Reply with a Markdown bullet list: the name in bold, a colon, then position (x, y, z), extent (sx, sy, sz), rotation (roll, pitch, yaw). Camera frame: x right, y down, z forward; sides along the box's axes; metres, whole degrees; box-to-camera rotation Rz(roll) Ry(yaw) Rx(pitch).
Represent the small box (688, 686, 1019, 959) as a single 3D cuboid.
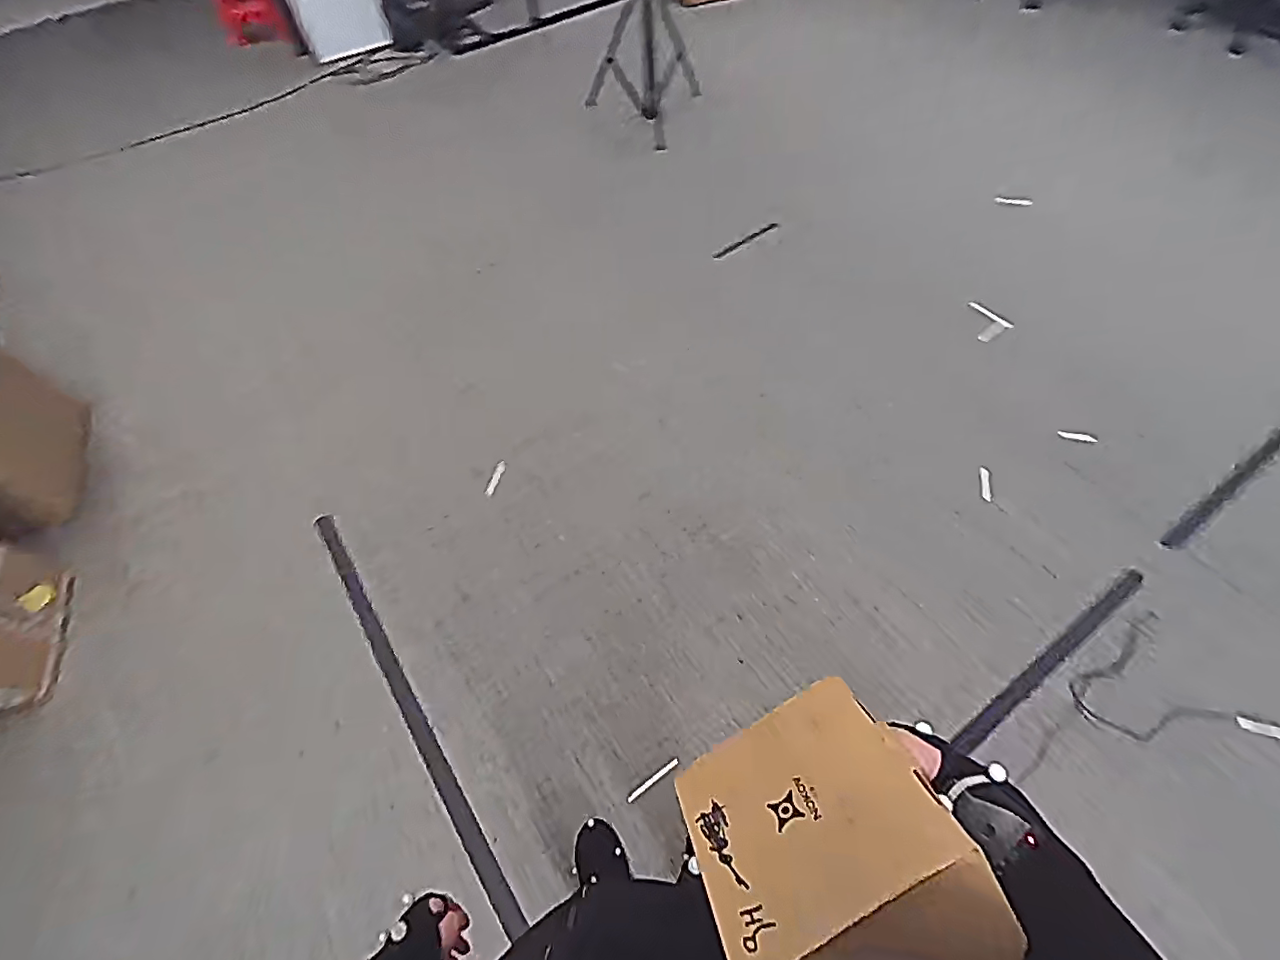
- **small box**: position (0.170, 0.318, 0.445), extent (0.179, 0.176, 0.168), rotation (-33, 21, 1)
